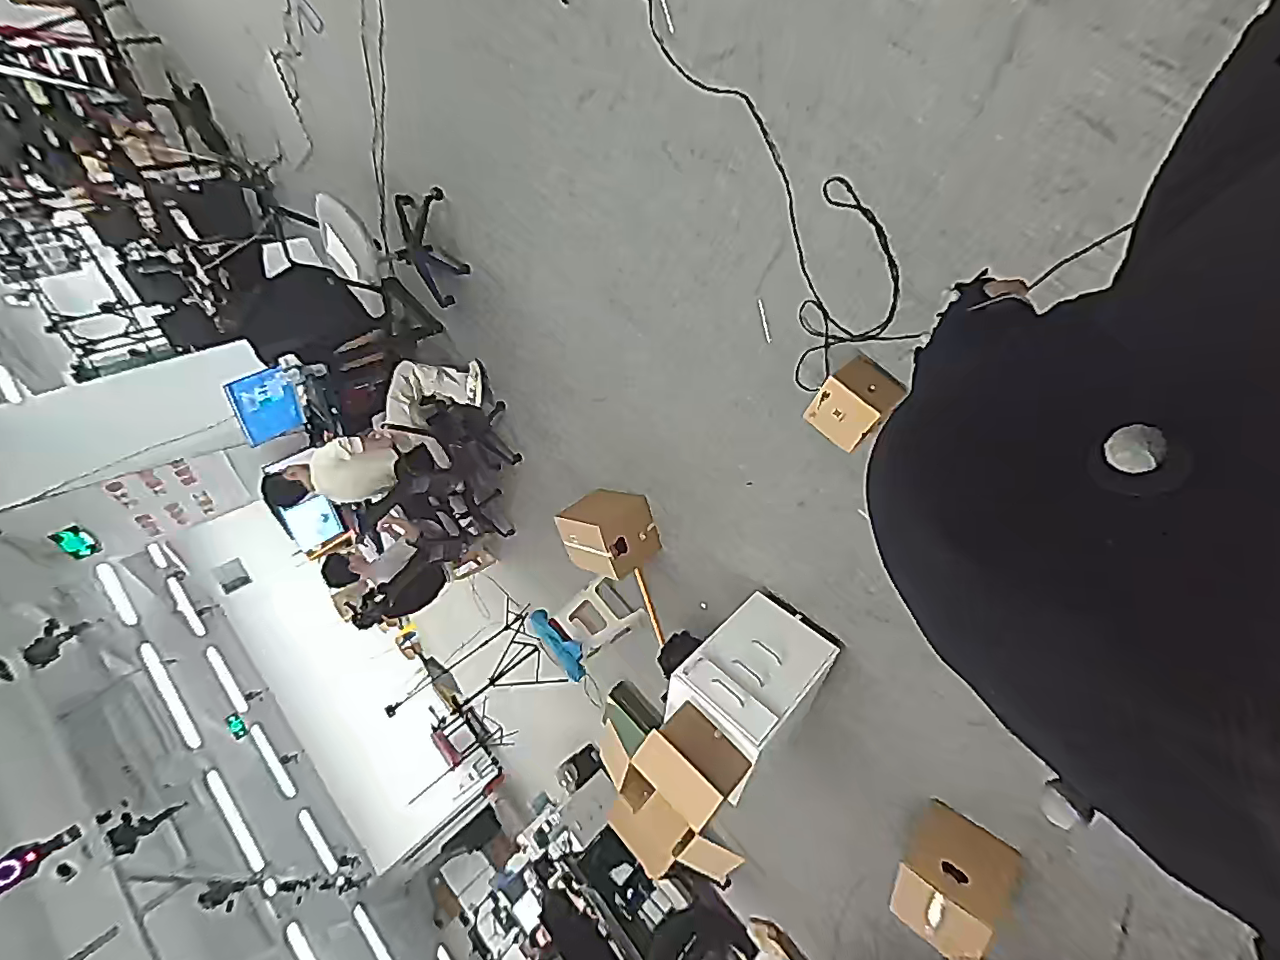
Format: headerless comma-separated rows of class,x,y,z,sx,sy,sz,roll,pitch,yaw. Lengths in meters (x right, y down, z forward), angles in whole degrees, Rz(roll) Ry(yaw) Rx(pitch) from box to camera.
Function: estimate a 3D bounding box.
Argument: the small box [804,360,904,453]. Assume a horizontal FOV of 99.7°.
small box,0.616,-0.217,1.550,0.179,0.176,0.168,44,143,18
